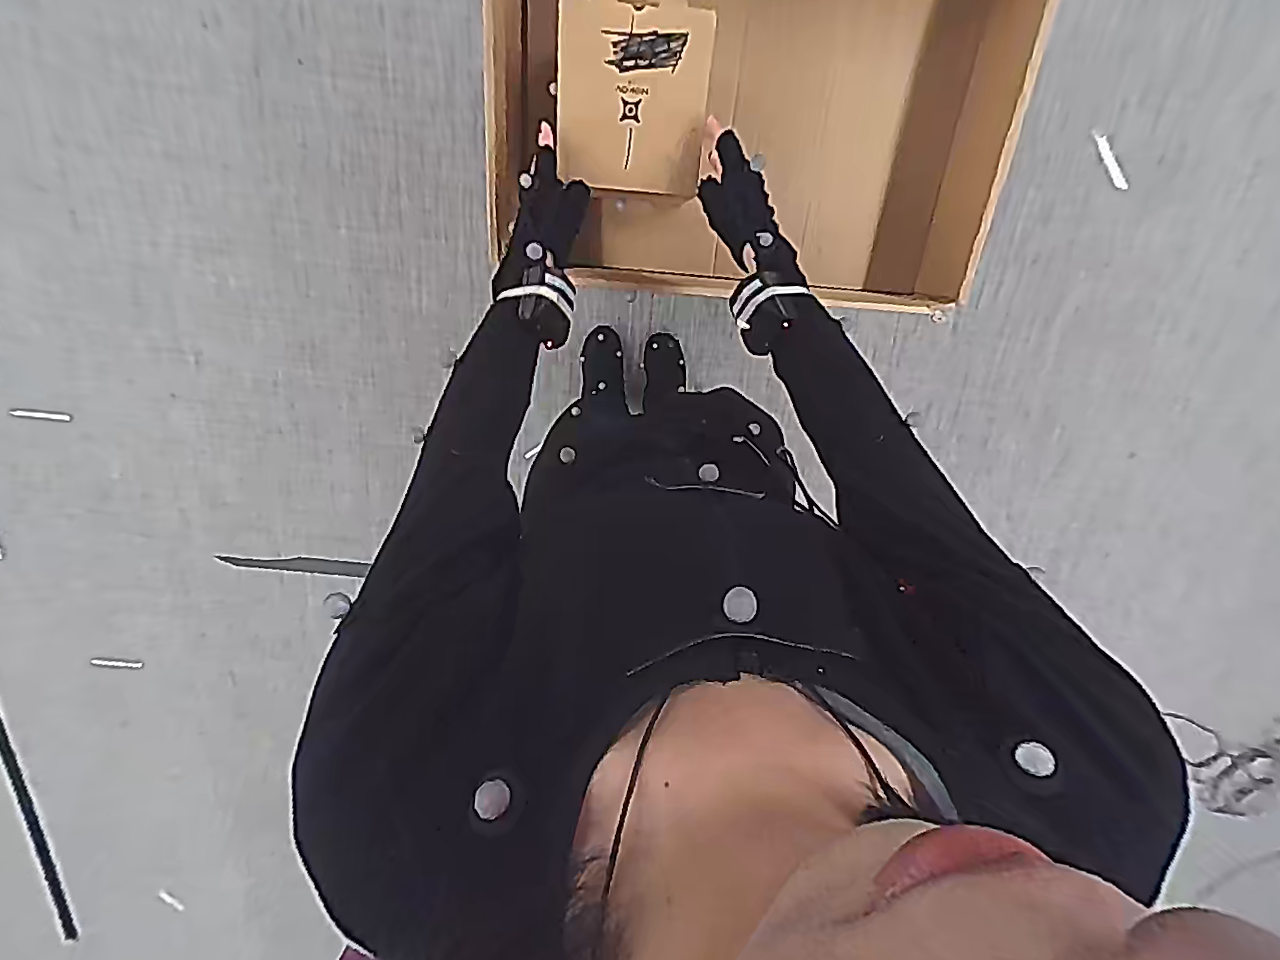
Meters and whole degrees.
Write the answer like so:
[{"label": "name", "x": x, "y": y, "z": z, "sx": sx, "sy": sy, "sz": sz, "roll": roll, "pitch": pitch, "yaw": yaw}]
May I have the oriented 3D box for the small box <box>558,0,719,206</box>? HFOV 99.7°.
[{"label": "small box", "x": -0.008, "y": -0.446, "z": 0.665, "sx": 0.168, "sy": 0.176, "sz": 0.179, "roll": 4, "pitch": 114, "yaw": -2}]
